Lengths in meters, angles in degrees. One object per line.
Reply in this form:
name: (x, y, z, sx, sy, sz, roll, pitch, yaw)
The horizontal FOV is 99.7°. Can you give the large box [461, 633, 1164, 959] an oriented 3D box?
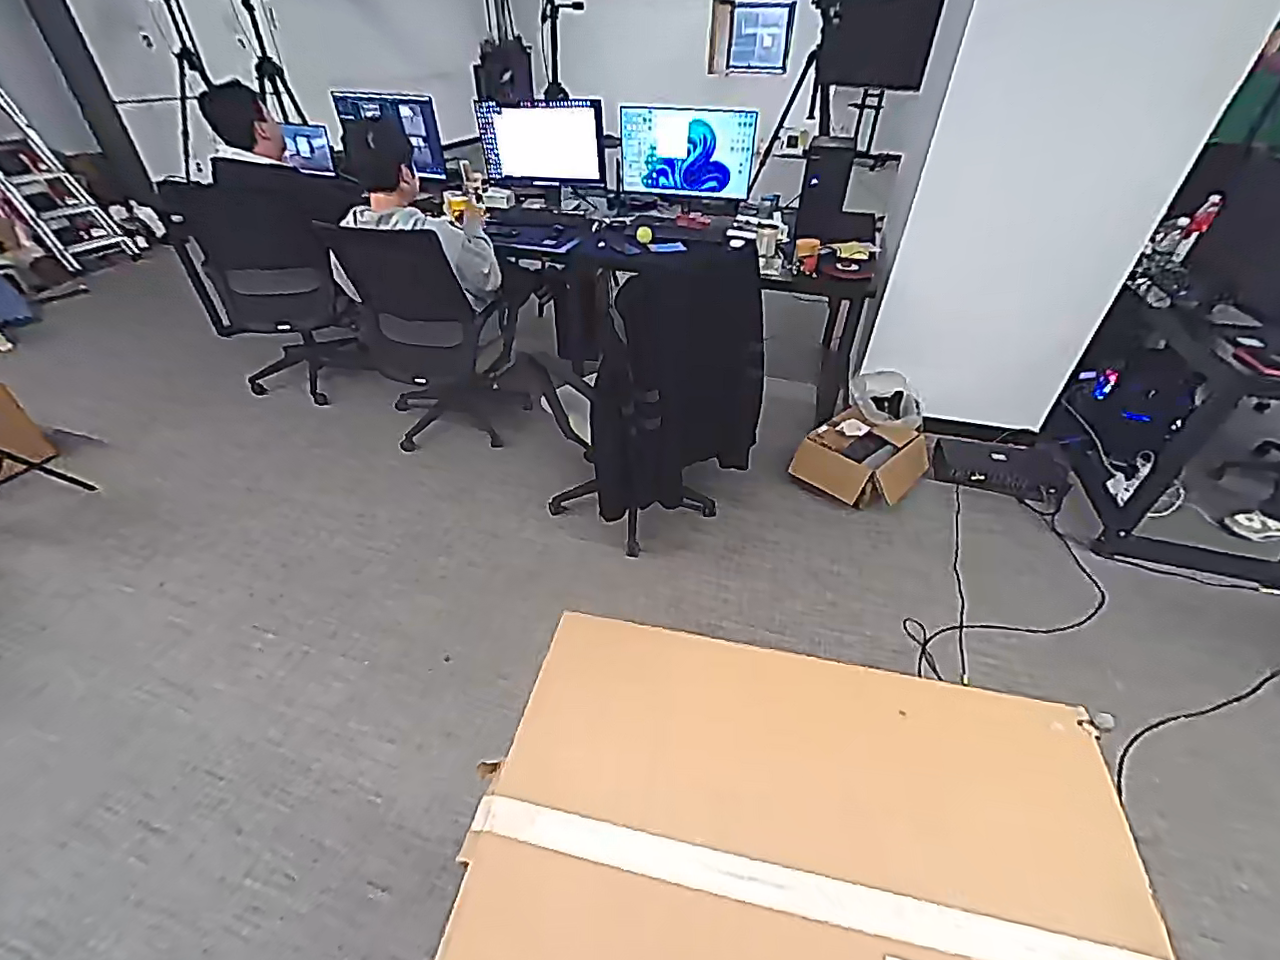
large box: (0.102, 0.365, 0.433, 0.408, 0.320, 0.320, 8, 46, 9)
